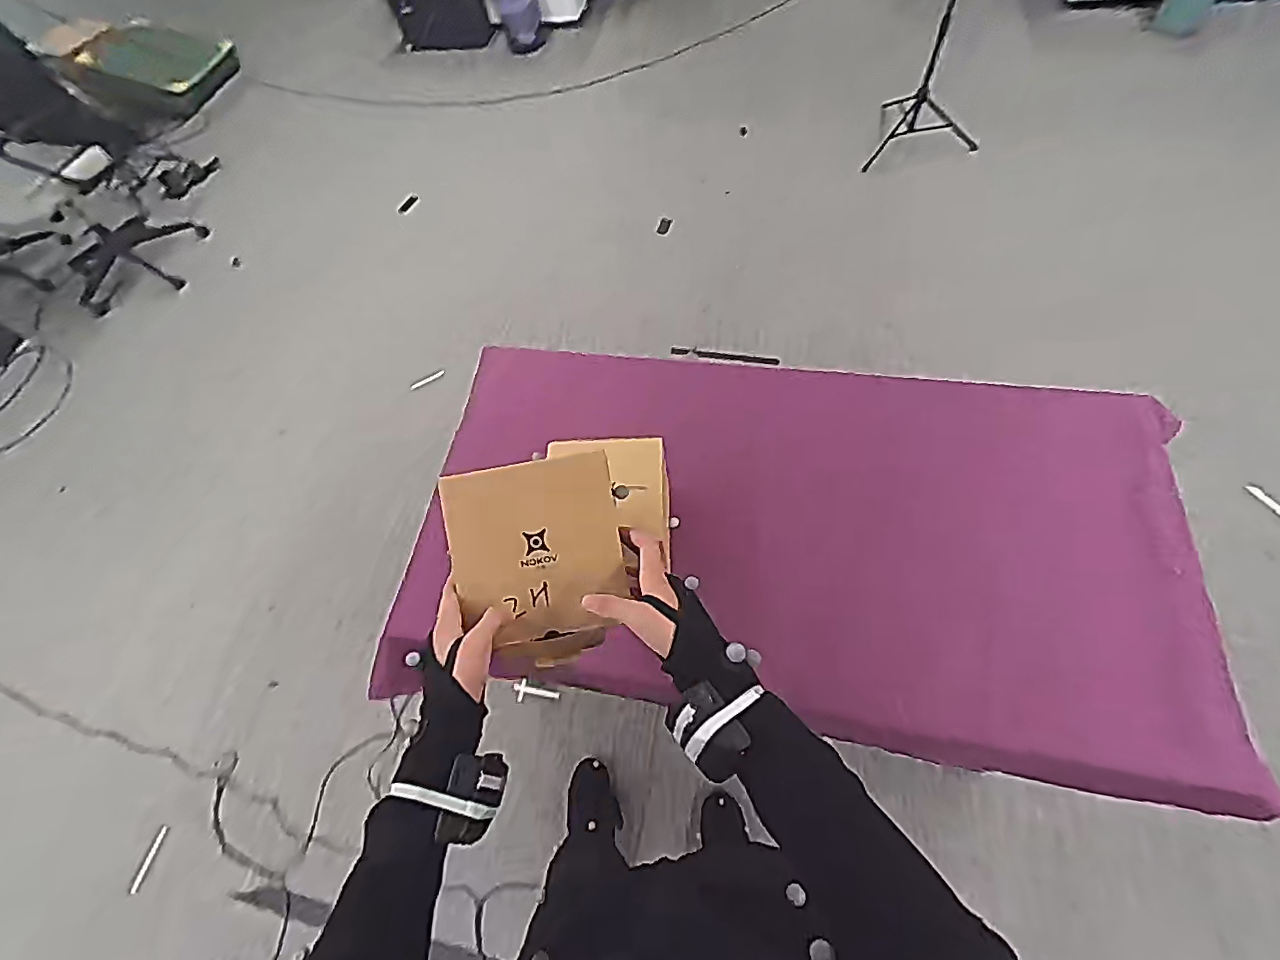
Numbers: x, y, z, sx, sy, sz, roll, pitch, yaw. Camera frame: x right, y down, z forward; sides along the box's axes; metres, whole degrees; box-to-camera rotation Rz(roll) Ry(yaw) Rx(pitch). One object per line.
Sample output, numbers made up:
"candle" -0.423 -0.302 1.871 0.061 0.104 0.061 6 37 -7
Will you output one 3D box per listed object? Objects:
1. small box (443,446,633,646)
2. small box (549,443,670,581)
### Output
"small box" -0.103 0.067 0.608 0.168 0.176 0.179 -10 89 -2
"small box" -0.045 0.056 0.845 0.179 0.176 0.168 -2 62 5
